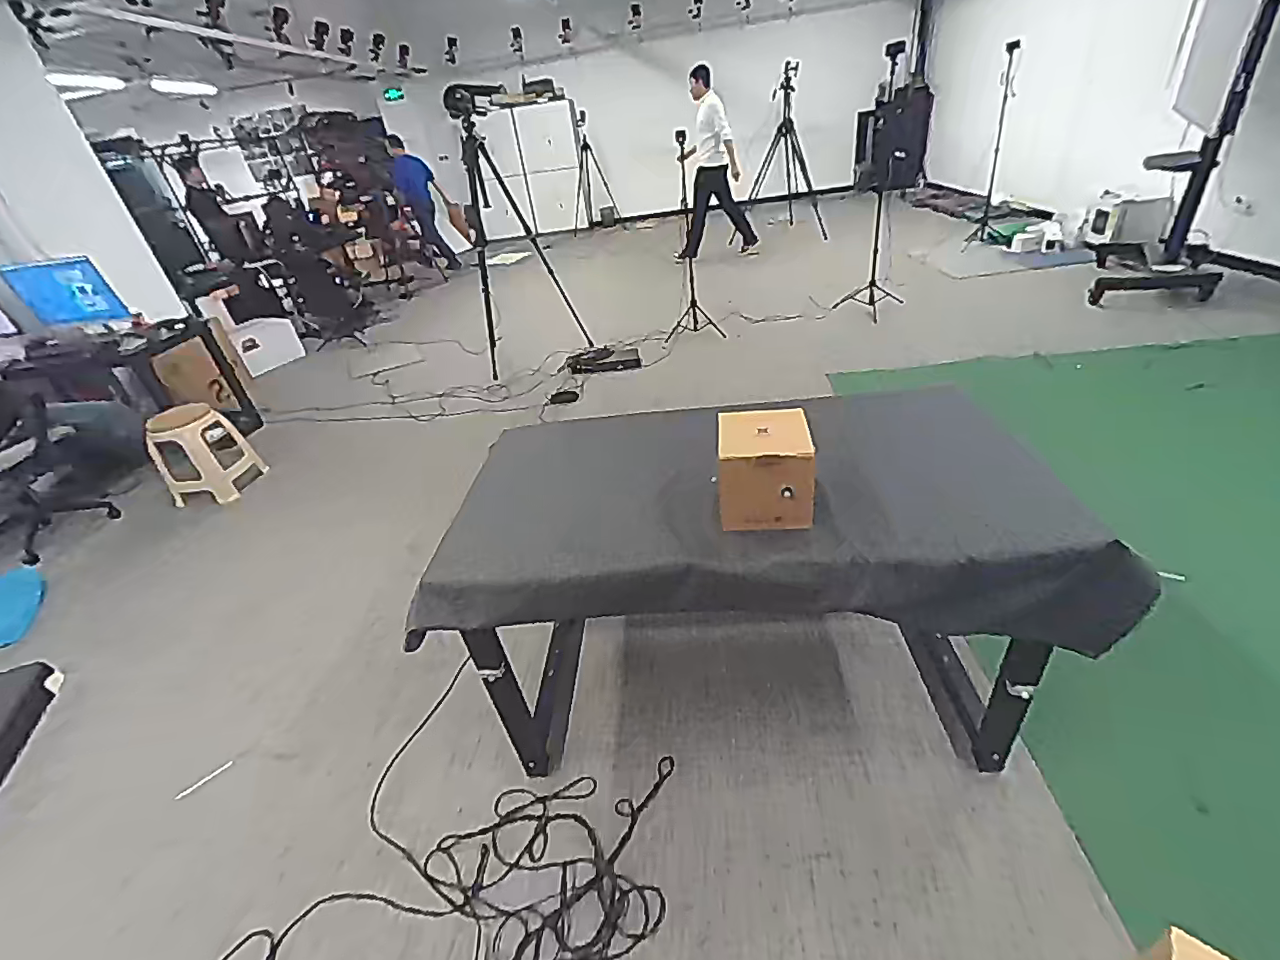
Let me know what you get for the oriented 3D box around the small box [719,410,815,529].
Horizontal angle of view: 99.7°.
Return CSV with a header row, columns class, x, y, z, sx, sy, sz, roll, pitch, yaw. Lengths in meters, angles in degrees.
class,x,y,z,sx,sy,sz,roll,pitch,yaw
small box,0.239,-0.018,1.037,0.168,0.176,0.179,-2,32,9
